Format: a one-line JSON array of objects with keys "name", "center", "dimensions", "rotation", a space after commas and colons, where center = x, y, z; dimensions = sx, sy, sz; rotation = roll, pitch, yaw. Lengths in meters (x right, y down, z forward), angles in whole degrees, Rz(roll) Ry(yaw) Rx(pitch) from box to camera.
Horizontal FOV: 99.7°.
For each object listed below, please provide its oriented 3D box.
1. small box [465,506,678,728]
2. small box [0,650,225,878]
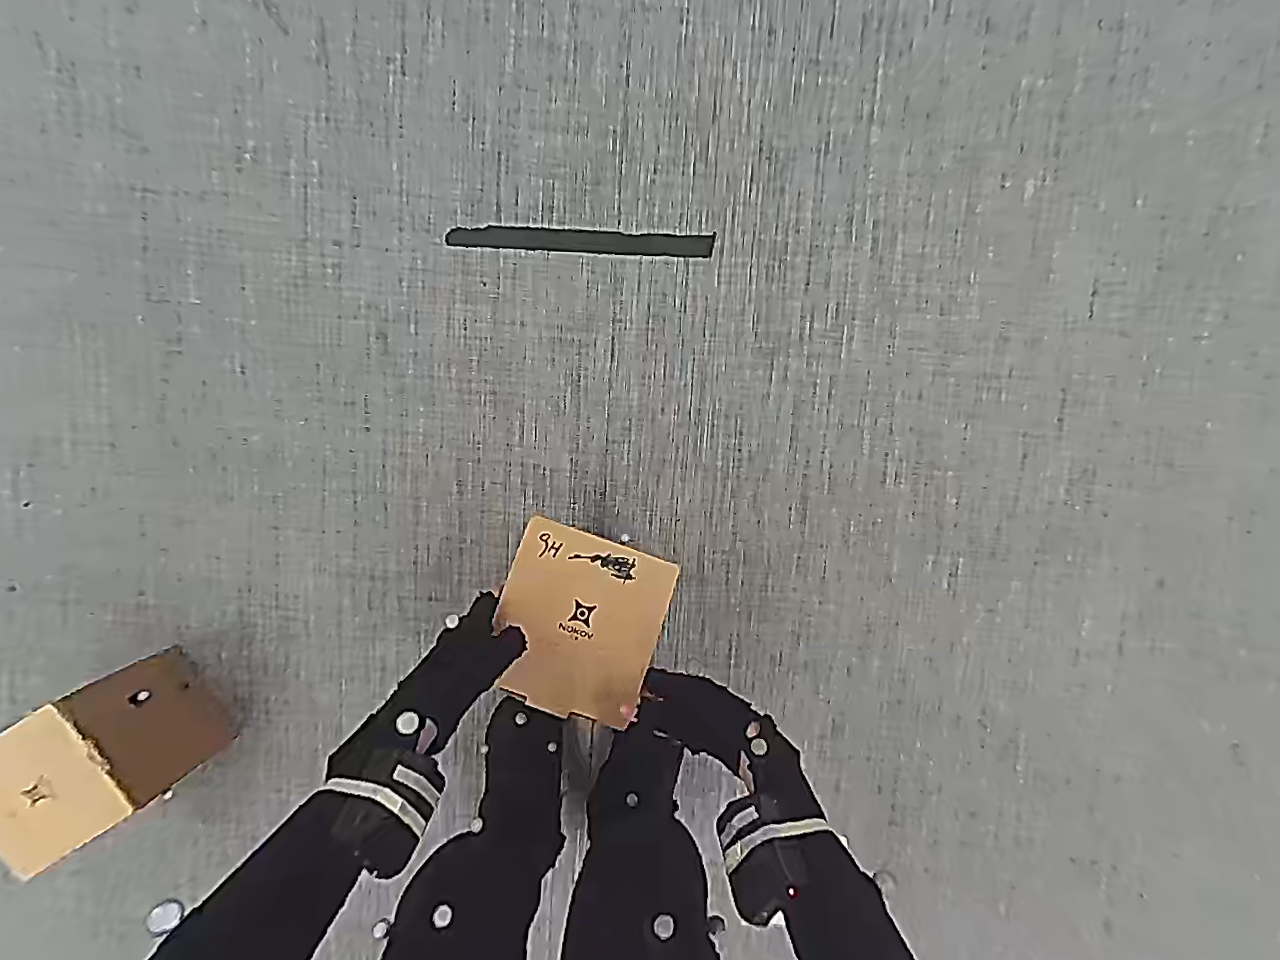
[{"name": "small box", "center": [-0.072, 0.143, 0.613], "dimensions": [0.168, 0.176, 0.179], "rotation": [21, 81, -4]}, {"name": "small box", "center": [-0.707, 0.359, 0.719], "dimensions": [0.179, 0.176, 0.168], "rotation": [-33, 93, 3]}]
